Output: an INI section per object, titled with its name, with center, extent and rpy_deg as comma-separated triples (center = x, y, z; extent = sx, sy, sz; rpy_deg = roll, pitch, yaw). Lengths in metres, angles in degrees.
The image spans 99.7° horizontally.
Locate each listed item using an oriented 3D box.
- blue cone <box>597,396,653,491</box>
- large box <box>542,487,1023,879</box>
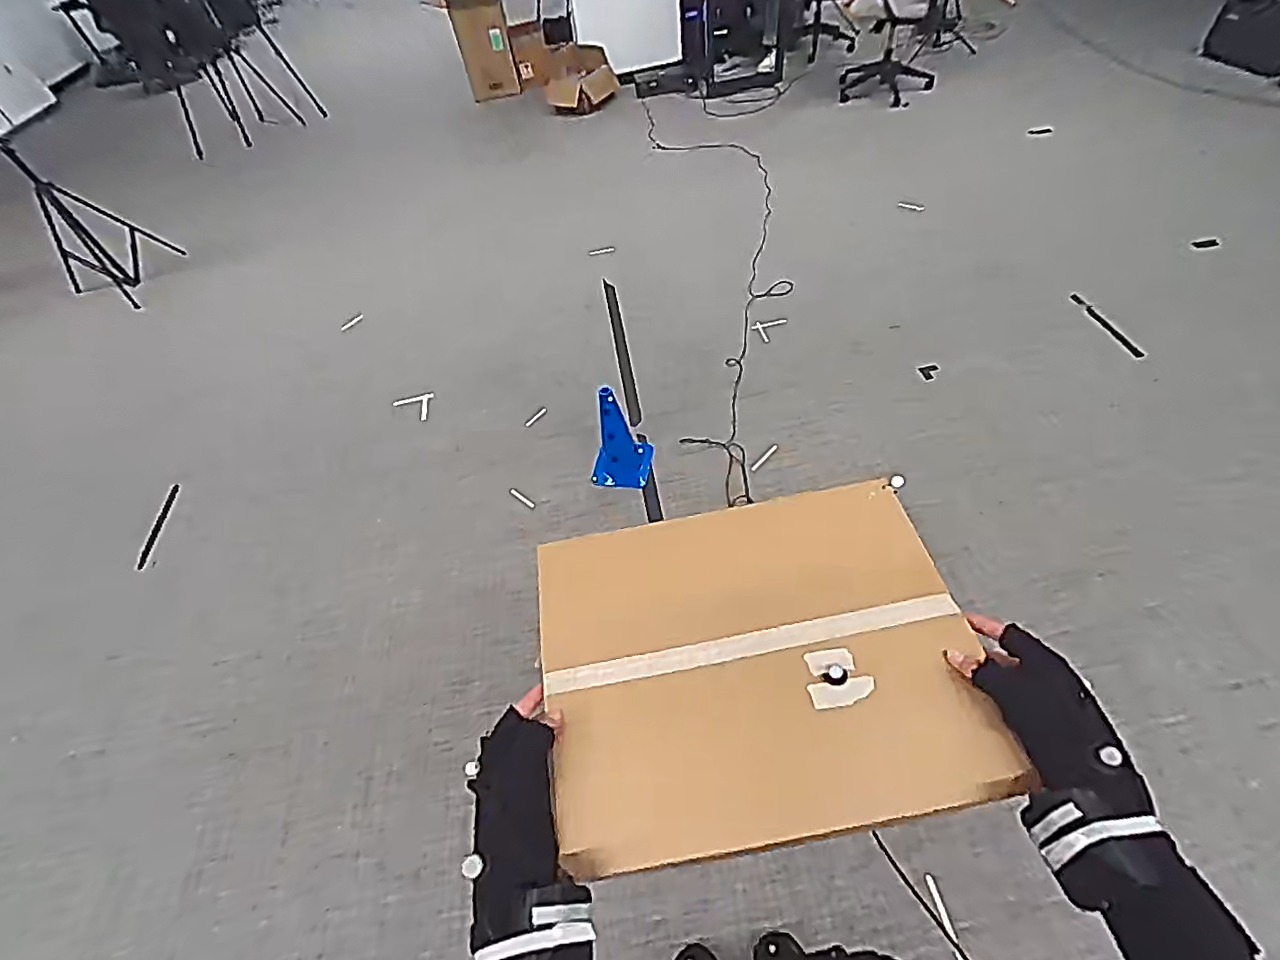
[blue cone]
center = -0.076, -0.144, 1.822
extent = 0.193, 0.380, 0.192
rpy_deg = 4, 53, 14
[large box]
center = 0.120, 0.255, 0.655
extent = 0.408, 0.320, 0.320
rpy_deg = -11, 53, 0
